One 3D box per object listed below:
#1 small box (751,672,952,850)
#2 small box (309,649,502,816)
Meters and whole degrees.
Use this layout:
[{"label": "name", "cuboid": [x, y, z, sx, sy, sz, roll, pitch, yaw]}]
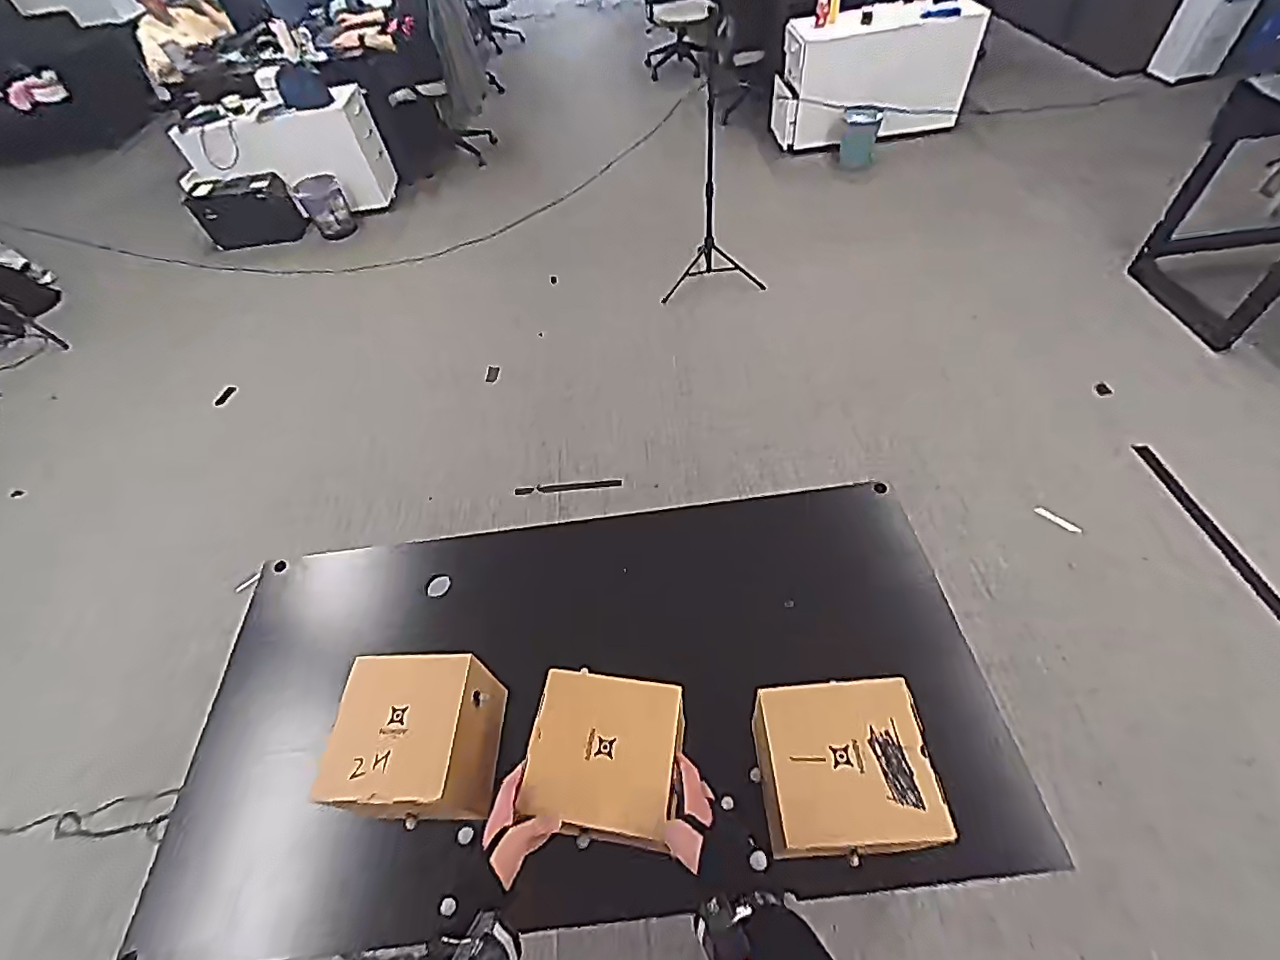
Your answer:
[{"label": "small box", "cuboid": [0.240, 0.350, 0.667, 0.179, 0.176, 0.168, -7, 52, 4]}, {"label": "small box", "cuboid": [-0.299, 0.346, 0.739, 0.168, 0.176, 0.179, -3, 53, 5]}]
